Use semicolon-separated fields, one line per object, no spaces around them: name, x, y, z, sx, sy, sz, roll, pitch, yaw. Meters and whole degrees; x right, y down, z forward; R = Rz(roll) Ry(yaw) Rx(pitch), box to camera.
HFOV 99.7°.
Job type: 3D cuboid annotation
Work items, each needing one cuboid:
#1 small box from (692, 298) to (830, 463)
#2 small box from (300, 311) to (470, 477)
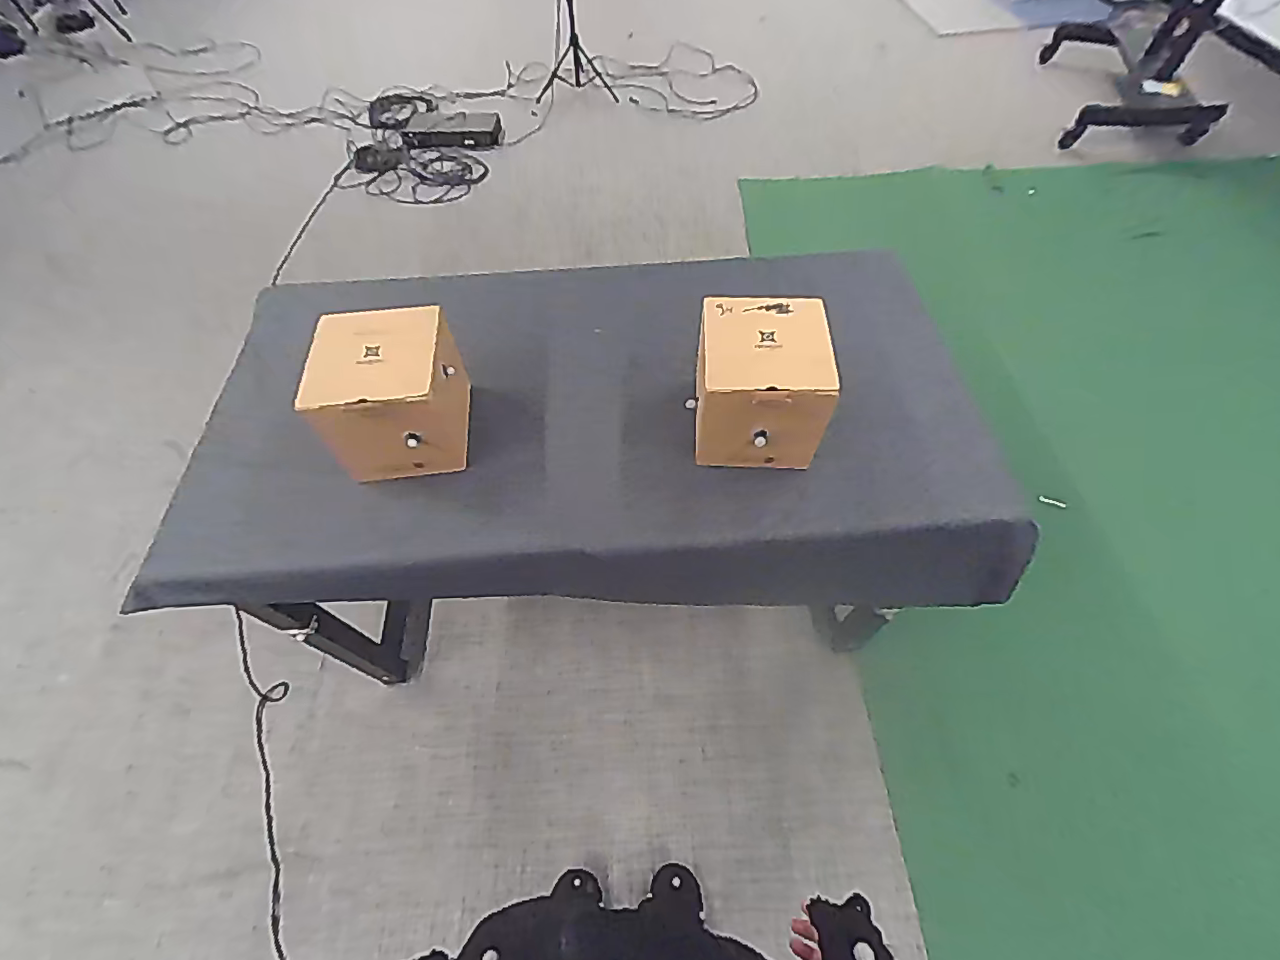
small box;0.162;-0.138;0.779;0.168;0.176;0.179;1;59;3
small box;-0.354;-0.117;0.790;0.168;0.176;0.179;-7;56;-4
